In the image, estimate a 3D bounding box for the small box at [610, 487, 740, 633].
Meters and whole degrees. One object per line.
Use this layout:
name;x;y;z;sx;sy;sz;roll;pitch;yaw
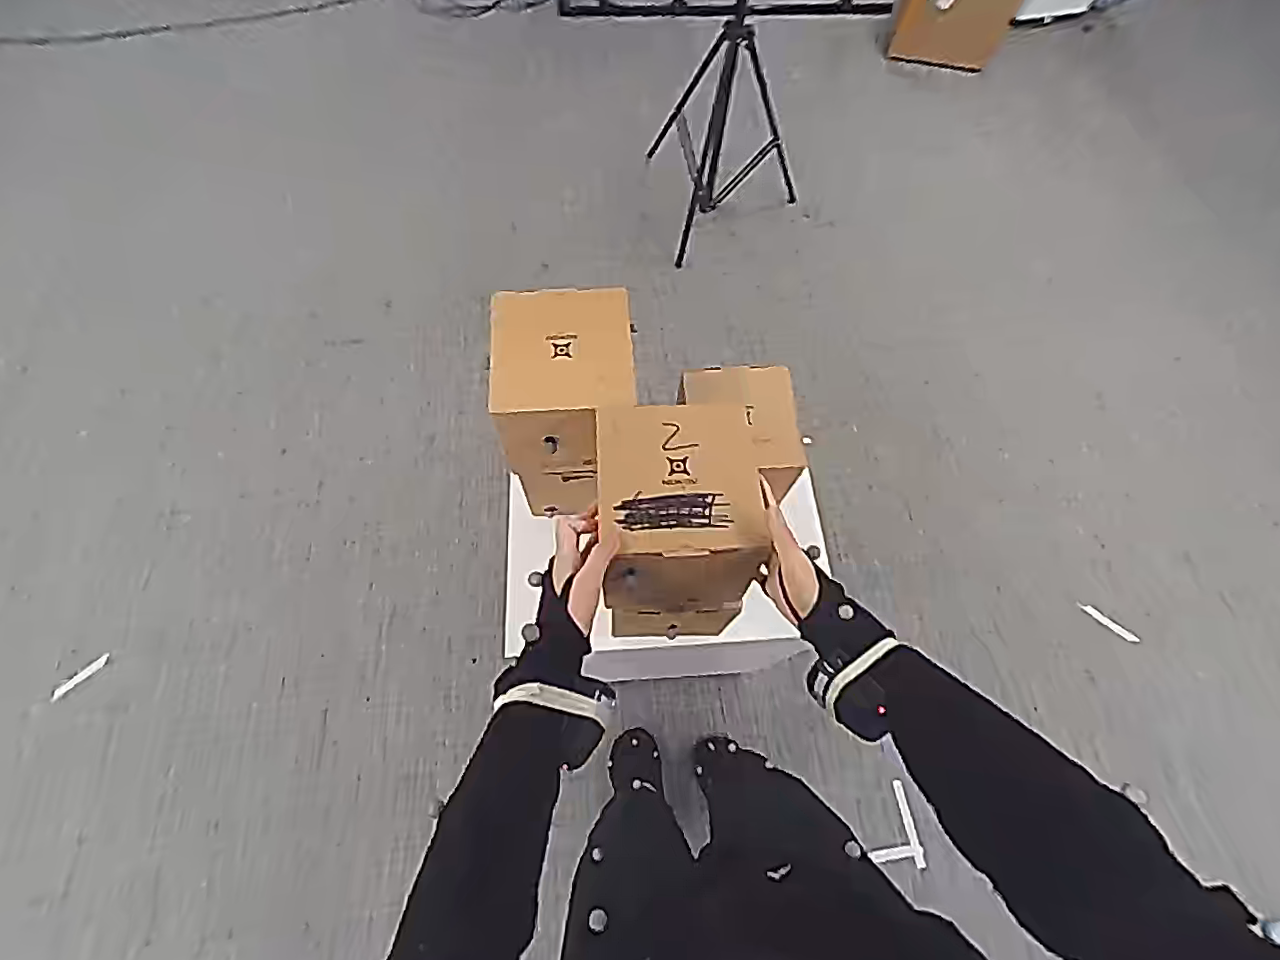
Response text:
small box;0.041;0.121;0.775;0.168;0.176;0.179;0;65;-3

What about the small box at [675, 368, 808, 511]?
small box;0.150;-0.059;0.865;0.168;0.176;0.179;-3;68;-3

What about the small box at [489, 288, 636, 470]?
small box;-0.094;-0.120;0.700;0.168;0.176;0.179;-4;66;-5

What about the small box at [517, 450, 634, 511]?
small box;-0.094;-0.055;0.849;0.168;0.176;0.179;-1;65;-4
